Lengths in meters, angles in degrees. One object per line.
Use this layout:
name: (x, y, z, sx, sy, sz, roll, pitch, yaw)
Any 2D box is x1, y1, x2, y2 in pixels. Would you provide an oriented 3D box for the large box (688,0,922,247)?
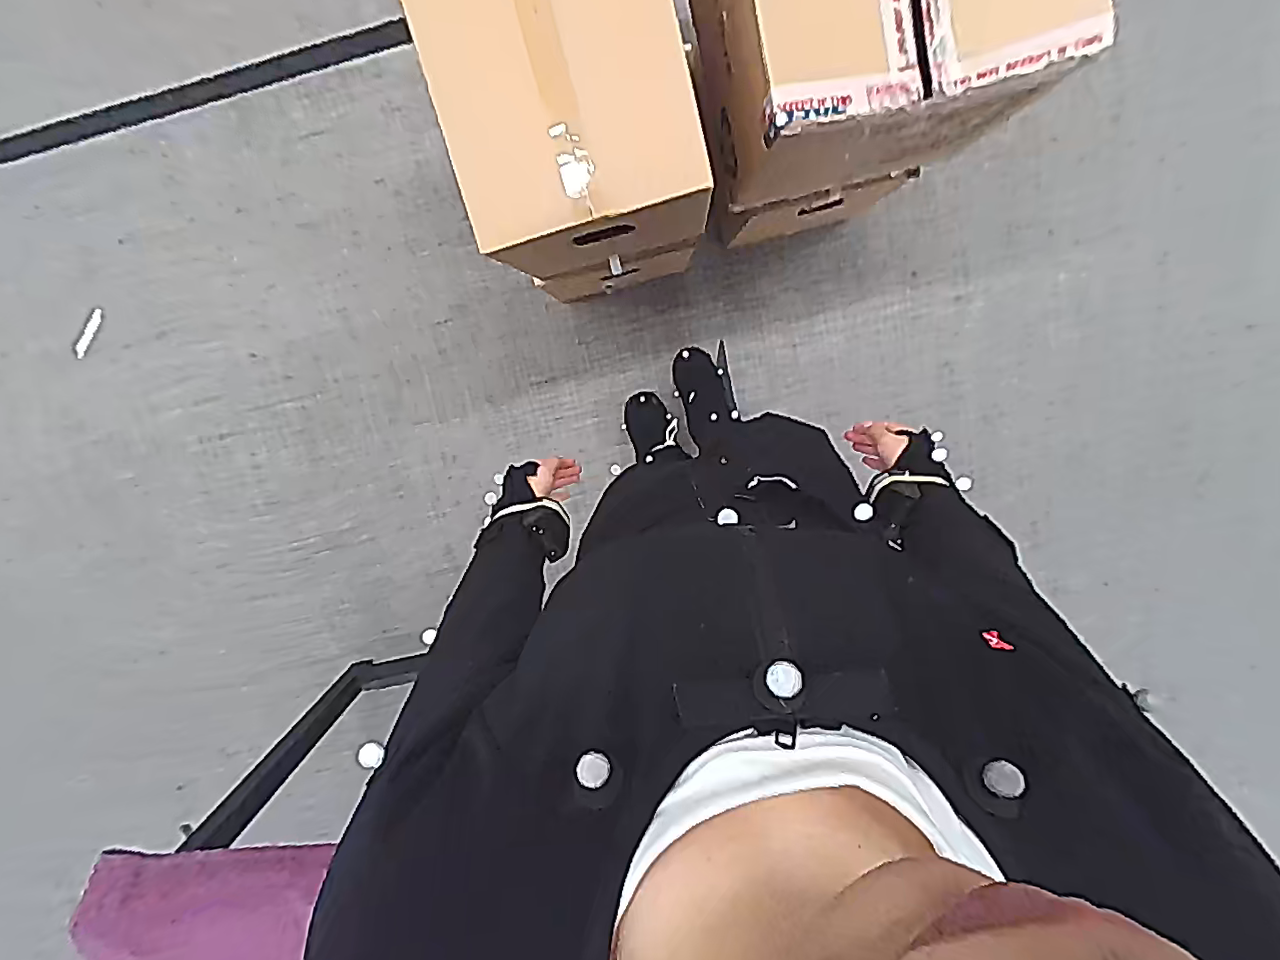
large box: (0.304, -0.735, 1.074, 0.320, 0.320, 0.408, -14, 103, 3)
